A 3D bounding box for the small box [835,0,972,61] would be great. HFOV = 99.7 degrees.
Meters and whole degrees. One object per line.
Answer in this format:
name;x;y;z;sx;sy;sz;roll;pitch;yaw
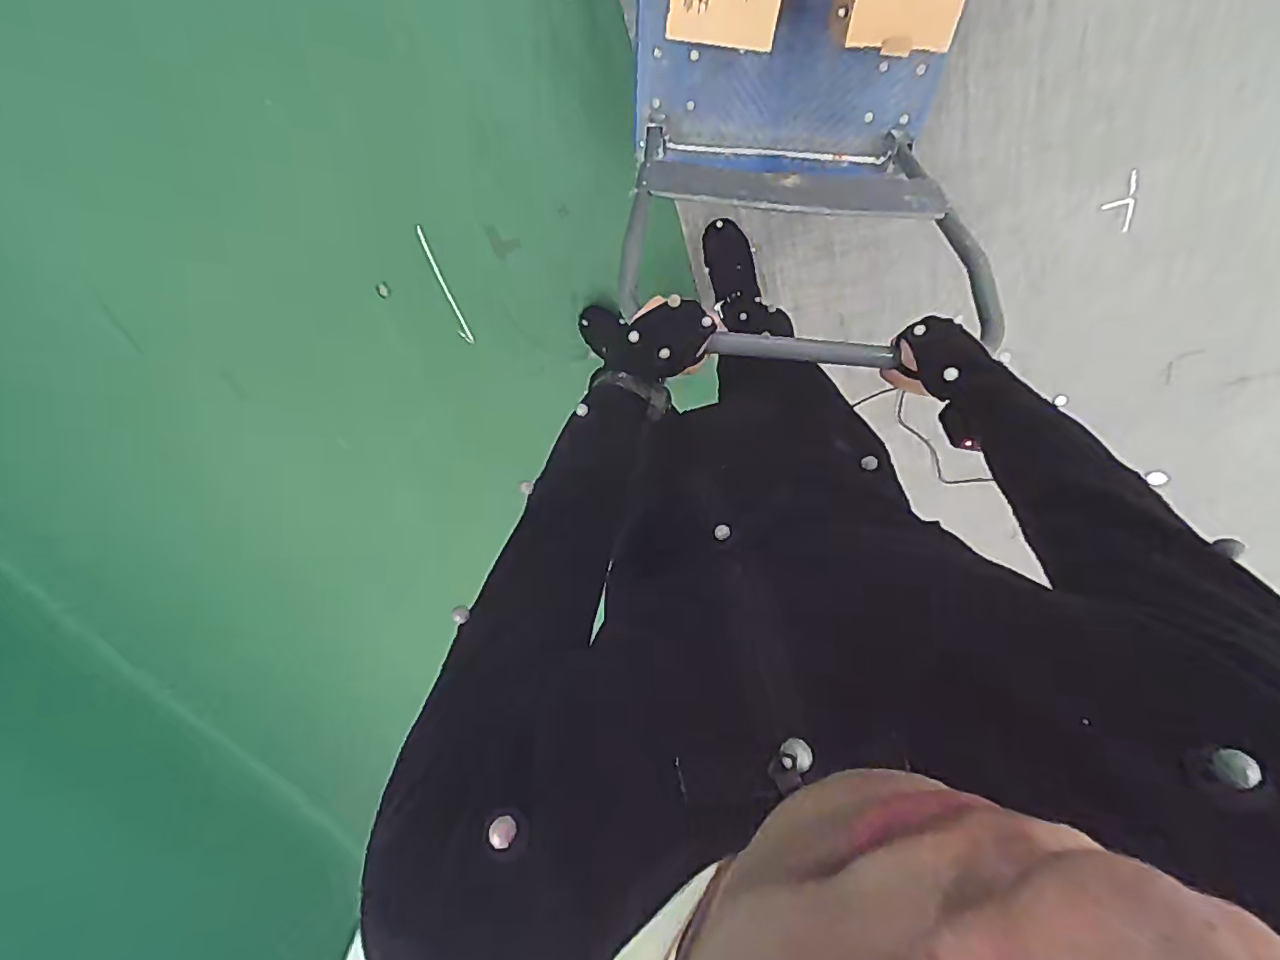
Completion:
small box;0.424;-0.794;0.858;0.168;0.176;0.179;6;136;2
